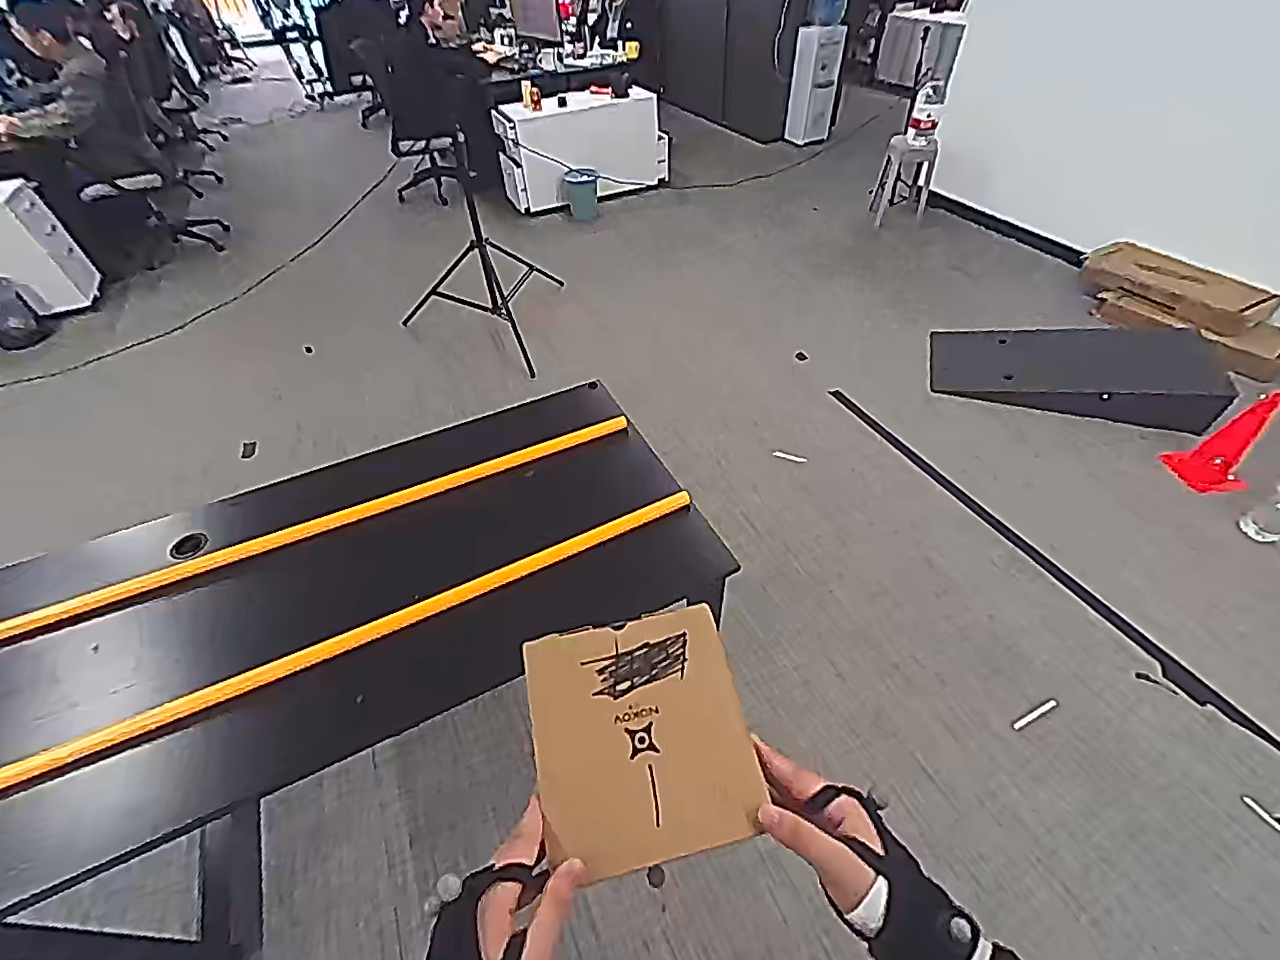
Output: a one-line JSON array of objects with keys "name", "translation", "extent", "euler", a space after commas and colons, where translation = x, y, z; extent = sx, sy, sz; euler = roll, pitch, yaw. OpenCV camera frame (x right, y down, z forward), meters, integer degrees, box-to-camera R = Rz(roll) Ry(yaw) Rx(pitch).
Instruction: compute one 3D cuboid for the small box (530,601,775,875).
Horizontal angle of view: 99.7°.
[{"name": "small box", "translation": [0.000, 0.236, 0.493], "extent": [0.168, 0.176, 0.179], "euler": [-10, 56, -8]}]
